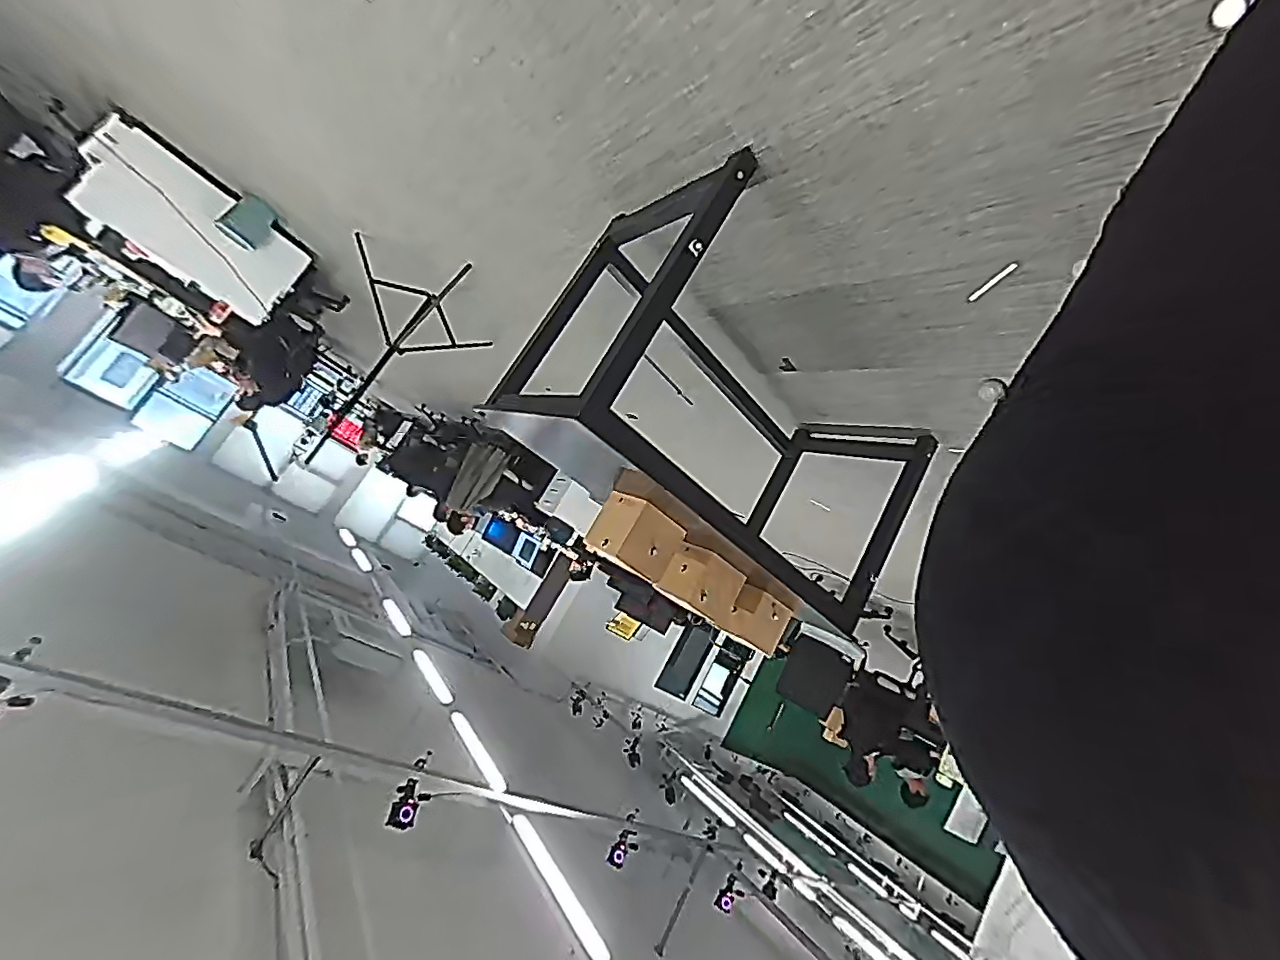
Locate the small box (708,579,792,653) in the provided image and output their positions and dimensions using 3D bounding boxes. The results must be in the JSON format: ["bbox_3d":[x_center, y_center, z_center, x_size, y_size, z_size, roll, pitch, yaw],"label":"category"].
[{"bbox_3d":[0.364,0.433,1.776,0.168,0.176,0.179,37,166,-31],"label":"small box"}]

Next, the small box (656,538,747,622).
[{"bbox_3d":[0.187,0.295,1.632,0.179,0.176,0.168,38,167,-33],"label":"small box"}]

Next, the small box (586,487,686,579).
[{"bbox_3d":[-0.006,0.142,1.474,0.179,0.176,0.168,38,166,-35],"label":"small box"}]
